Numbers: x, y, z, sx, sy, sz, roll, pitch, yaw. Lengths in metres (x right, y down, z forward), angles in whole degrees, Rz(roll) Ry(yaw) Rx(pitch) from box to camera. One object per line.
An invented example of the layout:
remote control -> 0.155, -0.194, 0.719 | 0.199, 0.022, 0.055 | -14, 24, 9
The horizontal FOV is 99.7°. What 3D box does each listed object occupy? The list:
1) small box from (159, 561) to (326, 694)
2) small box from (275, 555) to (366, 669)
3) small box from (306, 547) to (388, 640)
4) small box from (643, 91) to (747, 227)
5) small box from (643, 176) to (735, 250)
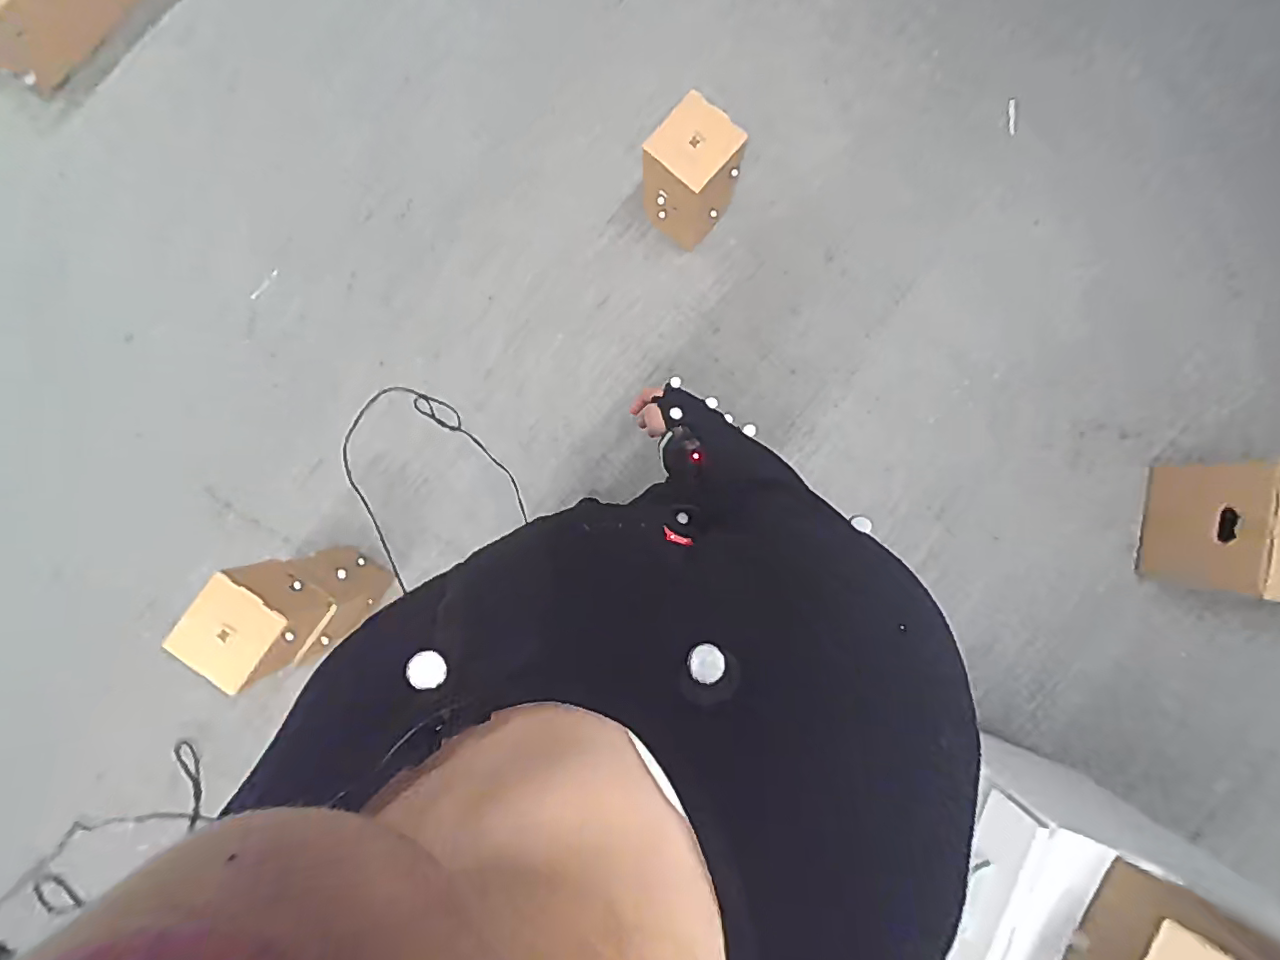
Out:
small box -> -0.777, 0.283, 1.080 | 0.168, 0.176, 0.179 | 35, 88, 1
small box -> -0.775, 0.293, 1.242 | 0.168, 0.176, 0.179 | 36, 88, 0
small box -> -0.791, 0.289, 1.406 | 0.168, 0.176, 0.179 | 33, 89, 1
small box -> 0.121, -0.741, 1.267 | 0.168, 0.176, 0.179 | 41, 90, 2
small box -> 0.122, -0.749, 1.430 | 0.179, 0.176, 0.168 | 41, 89, 1
